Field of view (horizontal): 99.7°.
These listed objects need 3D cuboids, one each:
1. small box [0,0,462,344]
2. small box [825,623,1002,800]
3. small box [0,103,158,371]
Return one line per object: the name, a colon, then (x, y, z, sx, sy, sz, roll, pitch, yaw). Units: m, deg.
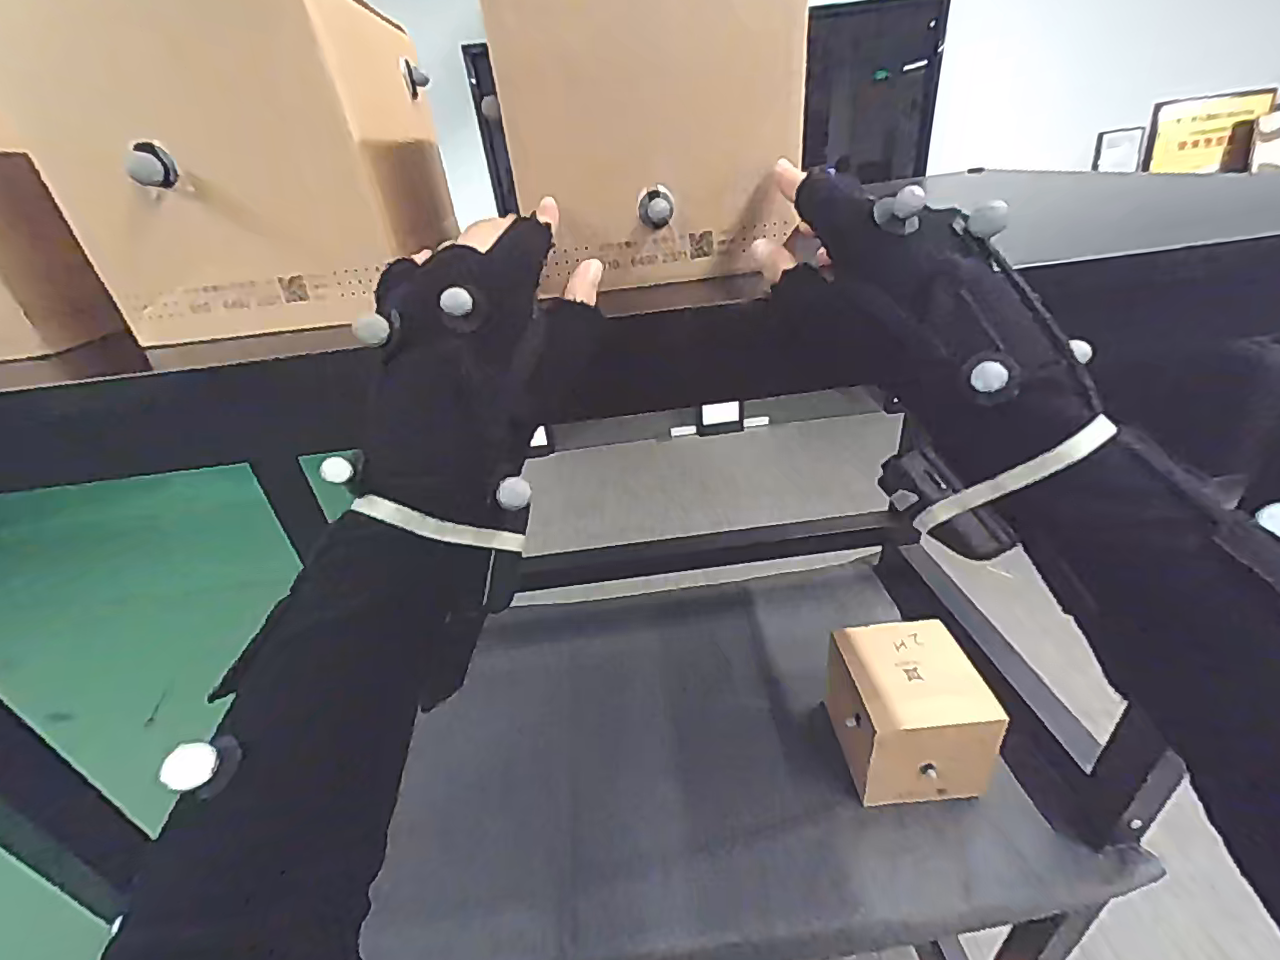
small box: (-0.236, -0.196, 0.367, 0.168, 0.176, 0.179, -7, 30, 0)
small box: (0.376, 0.335, 0.780, 0.168, 0.176, 0.179, -5, 29, 2)
small box: (-0.460, -0.178, 0.376, 0.168, 0.176, 0.179, -7, 31, 0)
